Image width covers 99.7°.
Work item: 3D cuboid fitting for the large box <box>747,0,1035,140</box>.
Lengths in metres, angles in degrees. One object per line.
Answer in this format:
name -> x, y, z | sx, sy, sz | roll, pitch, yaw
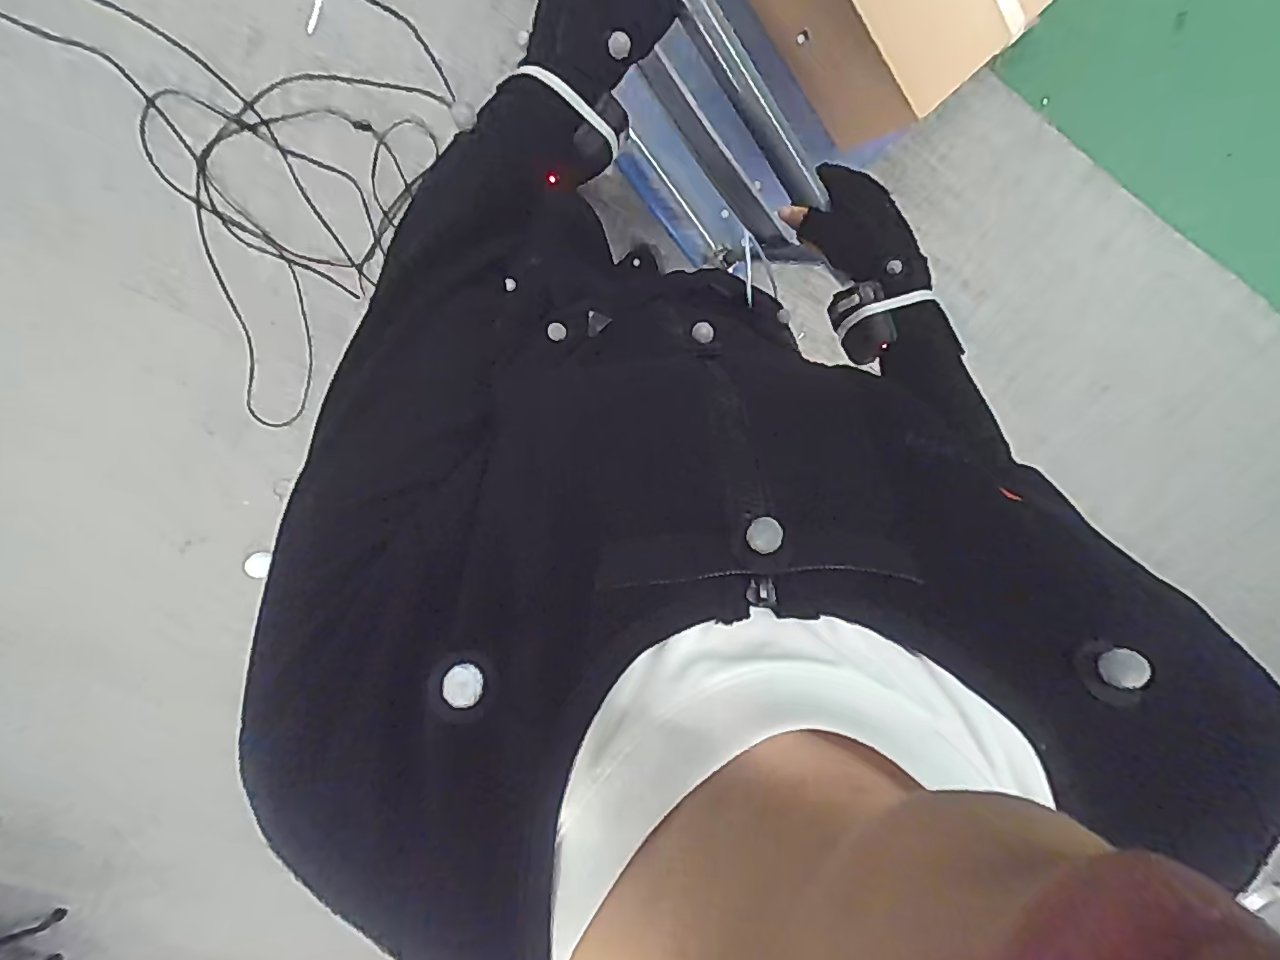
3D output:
large box -> 0.377, -0.828, 0.833 | 0.320, 0.320, 0.408 | -41, 110, 14
